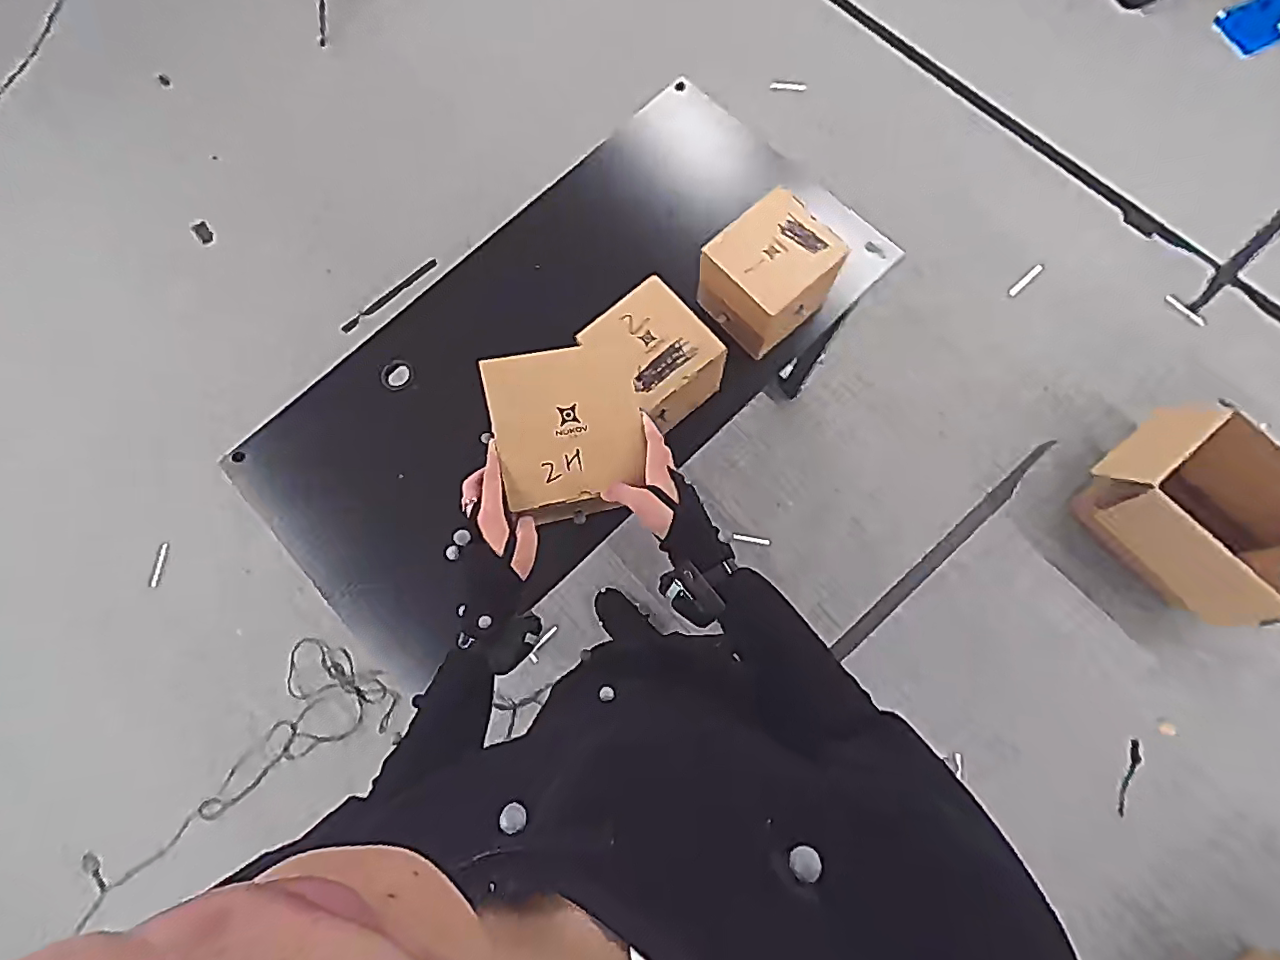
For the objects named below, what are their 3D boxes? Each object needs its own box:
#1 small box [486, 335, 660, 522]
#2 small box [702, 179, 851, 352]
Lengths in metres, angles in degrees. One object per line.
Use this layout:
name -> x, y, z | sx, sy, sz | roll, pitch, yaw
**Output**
small box -> -0.088, -0.054, 0.667 | 0.168, 0.176, 0.179 | -11, 83, -12
small box -> 0.219, -0.358, 0.930 | 0.179, 0.176, 0.168 | -41, 78, -4
